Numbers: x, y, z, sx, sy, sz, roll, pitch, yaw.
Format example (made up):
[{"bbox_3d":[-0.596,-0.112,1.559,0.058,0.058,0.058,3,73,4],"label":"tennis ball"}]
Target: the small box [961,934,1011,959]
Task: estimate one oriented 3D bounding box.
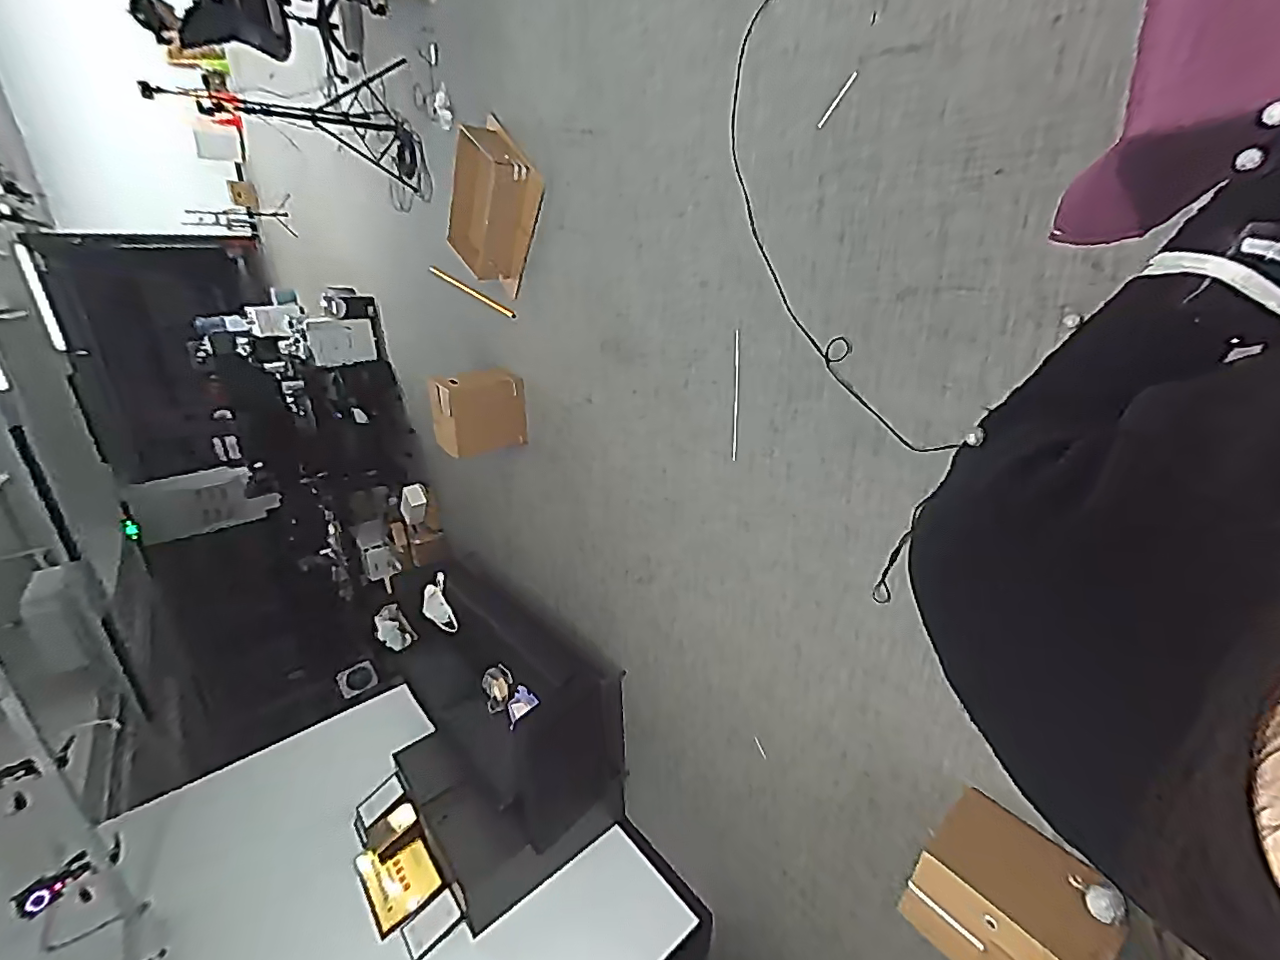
[{"bbox_3d":[0.872,1.296,1.341,0.168,0.176,0.179,29,128,43],"label":"small box"}]
